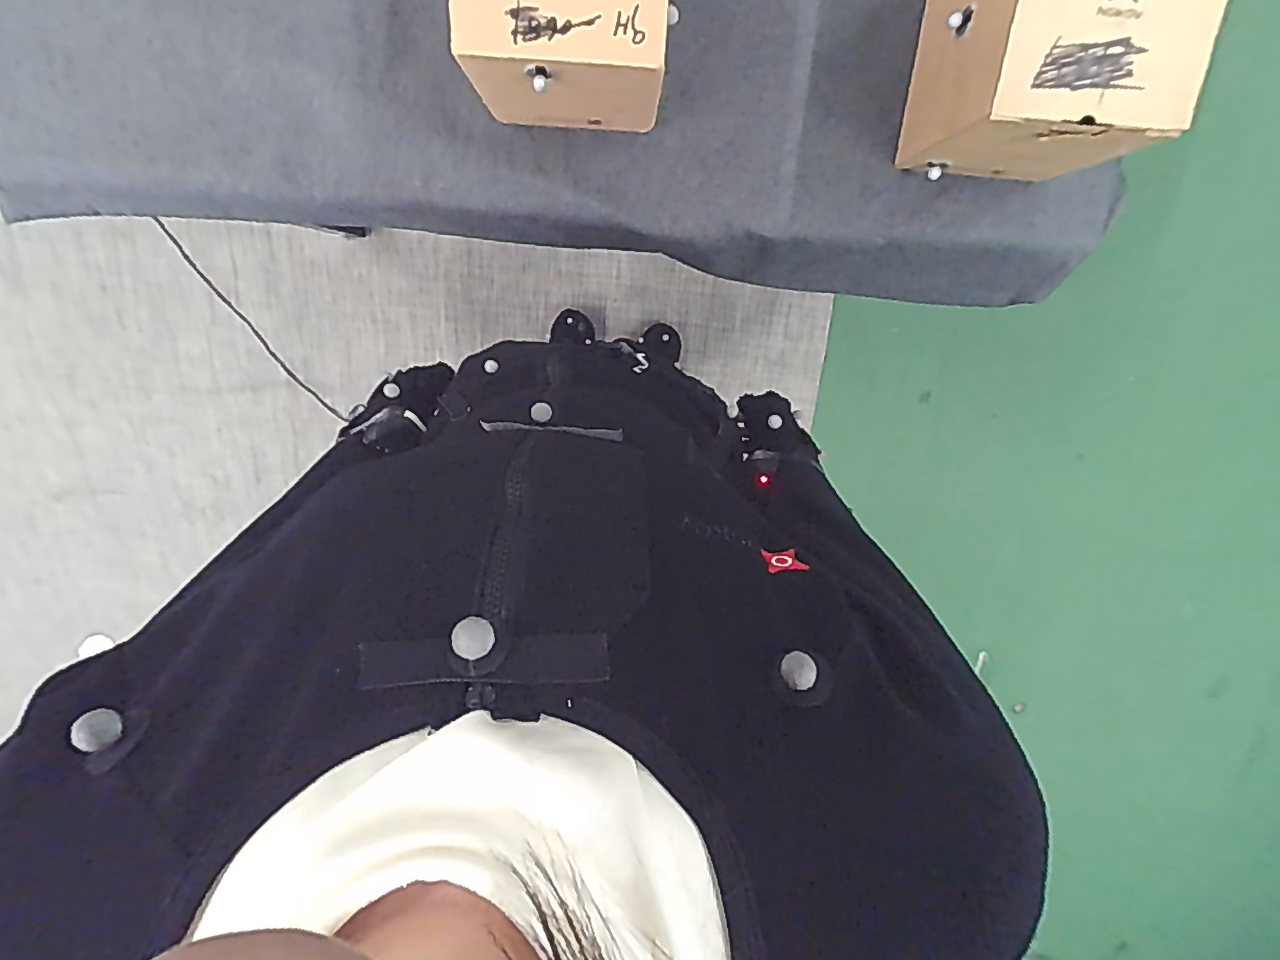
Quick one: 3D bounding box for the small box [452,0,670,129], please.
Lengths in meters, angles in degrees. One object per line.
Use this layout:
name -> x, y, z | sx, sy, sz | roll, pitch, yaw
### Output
small box -> -0.059, -0.435, 0.467 | 0.168, 0.176, 0.179 | 2, 108, -3

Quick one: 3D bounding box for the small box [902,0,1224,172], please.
small box -> 0.366, -0.398, 0.490 | 0.168, 0.176, 0.179 | 4, 107, -2
